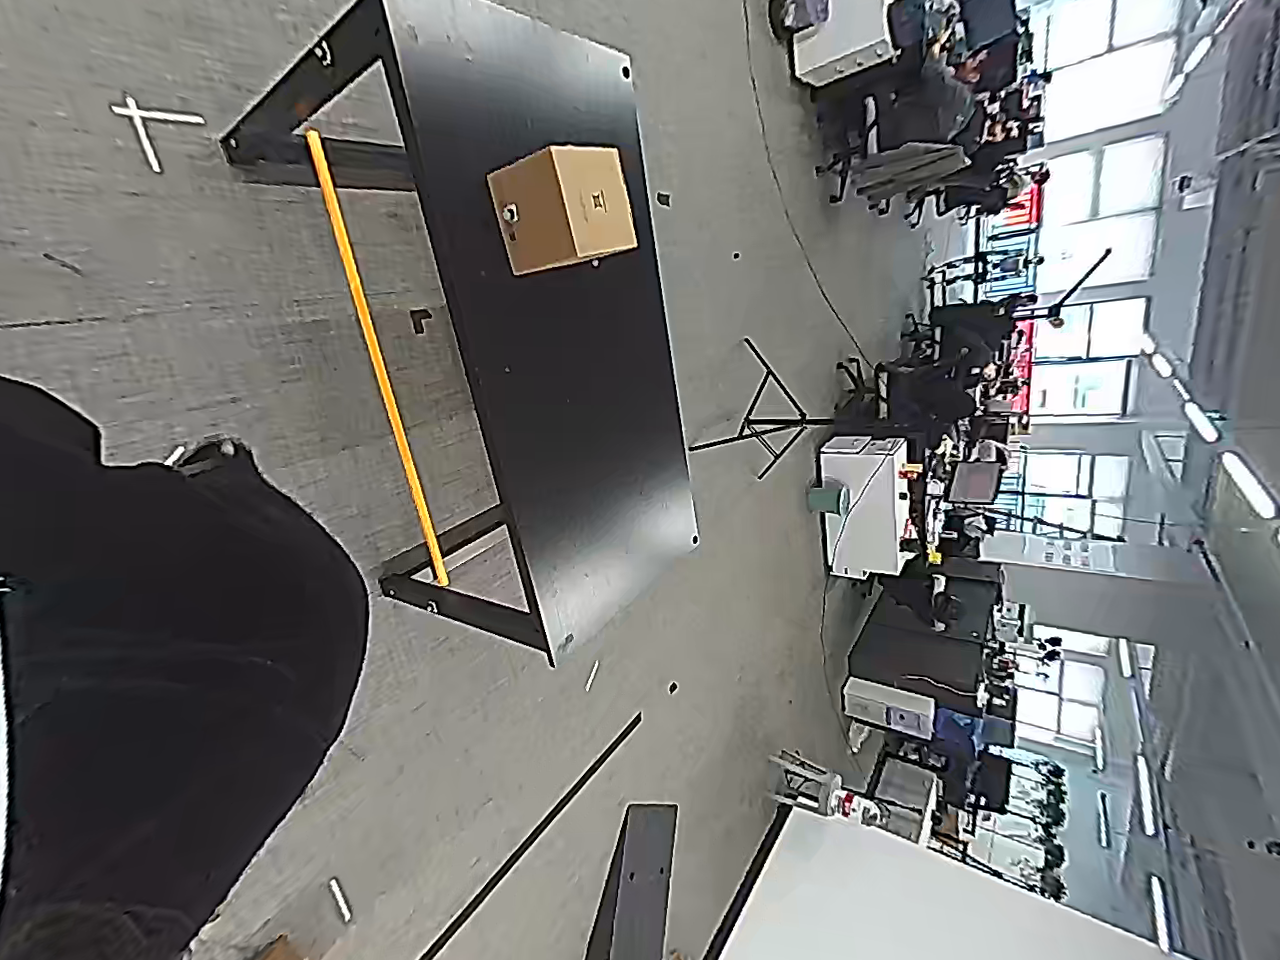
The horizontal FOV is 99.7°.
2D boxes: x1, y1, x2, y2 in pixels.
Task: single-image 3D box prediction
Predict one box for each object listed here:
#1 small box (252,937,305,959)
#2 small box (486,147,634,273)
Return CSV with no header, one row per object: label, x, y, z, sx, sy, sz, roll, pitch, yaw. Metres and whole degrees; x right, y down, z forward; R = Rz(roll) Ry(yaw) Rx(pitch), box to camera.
small box,-0.909,1.288,1.332,0.168,0.176,0.179,-31,117,-48
small box,-0.140,-0.481,0.971,0.179,0.176,0.168,-37,121,-44
